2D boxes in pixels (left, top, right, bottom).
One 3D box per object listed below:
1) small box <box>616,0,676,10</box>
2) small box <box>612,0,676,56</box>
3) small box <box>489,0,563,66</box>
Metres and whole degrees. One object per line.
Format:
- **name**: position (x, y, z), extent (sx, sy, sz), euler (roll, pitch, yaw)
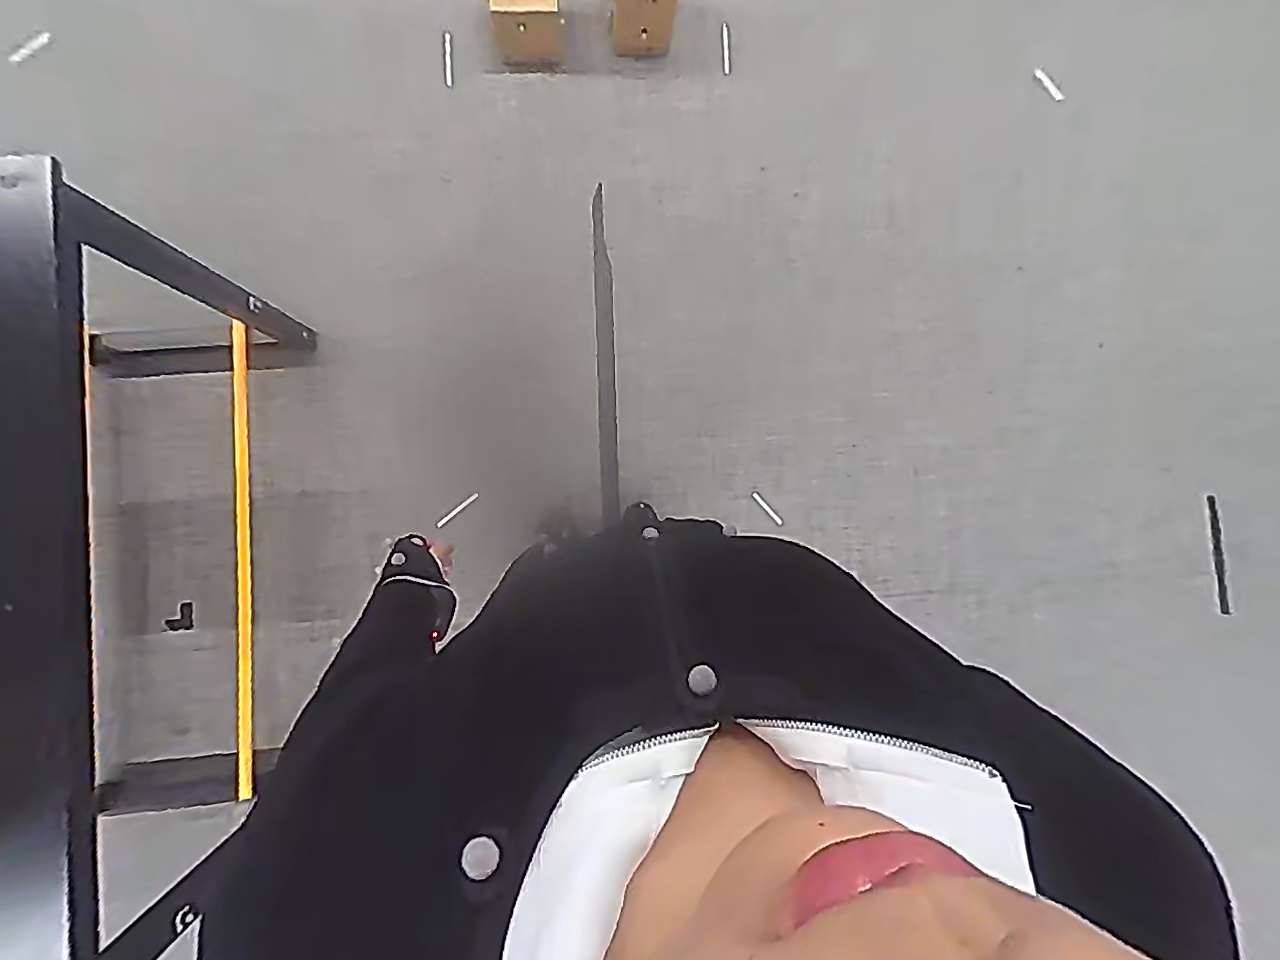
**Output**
- **small box**: position (0.016, -1.321, 1.331), extent (0.168, 0.176, 0.179), euler (-2, 88, -4)
- **small box**: position (0.007, -1.321, 1.498), extent (0.168, 0.176, 0.179), euler (-3, 88, -4)
- **small box**: position (-0.308, -1.268, 1.469), extent (0.179, 0.176, 0.168), euler (-5, 88, -5)
